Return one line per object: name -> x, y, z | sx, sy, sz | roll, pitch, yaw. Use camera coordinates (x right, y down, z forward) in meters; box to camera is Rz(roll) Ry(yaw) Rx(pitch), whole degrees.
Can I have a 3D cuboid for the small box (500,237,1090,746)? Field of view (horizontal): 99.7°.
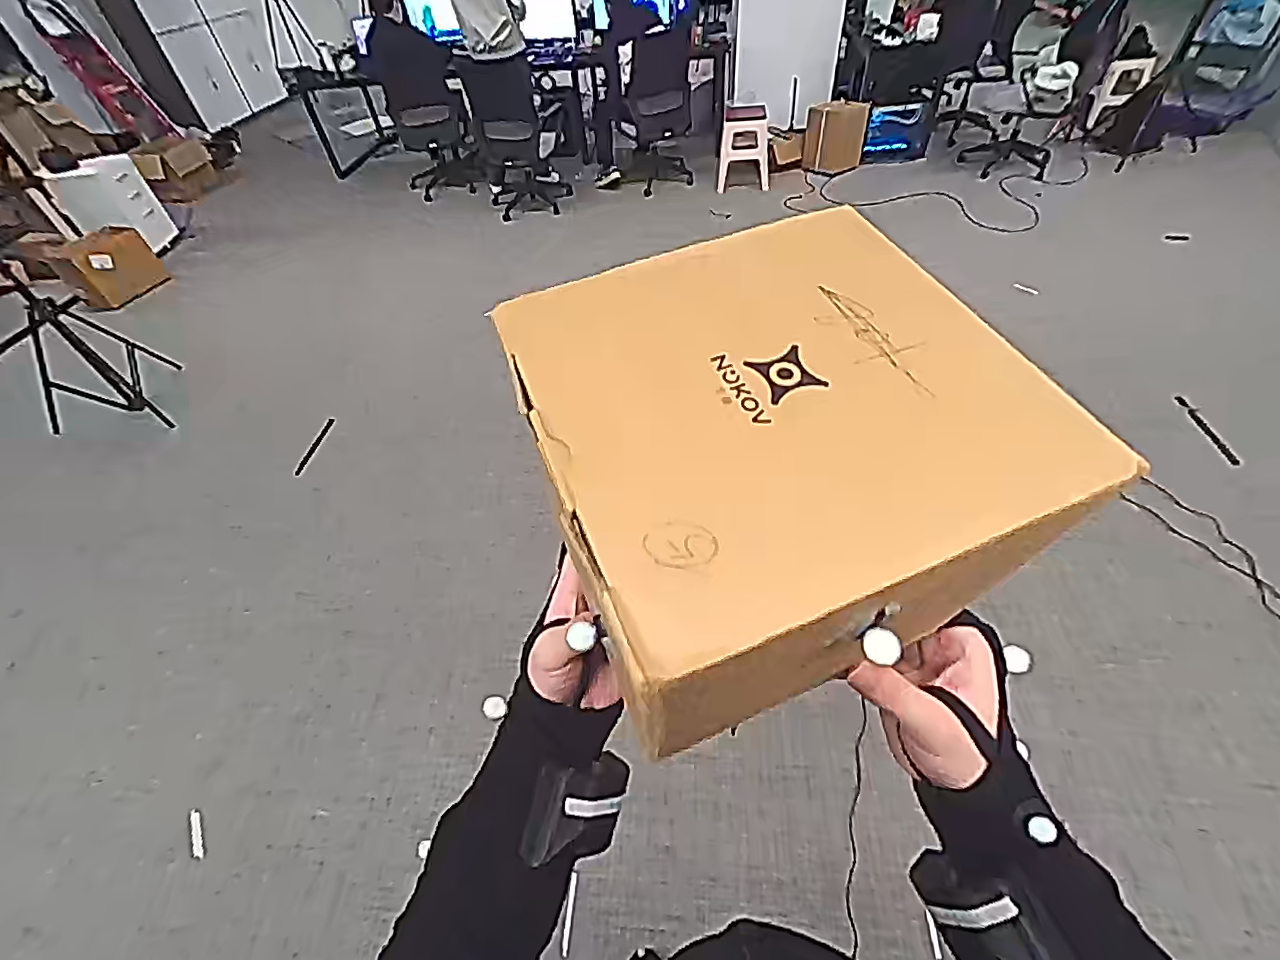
small box -> 0.050, 0.014, 0.277 | 0.179, 0.176, 0.168 | -20, 58, -11
